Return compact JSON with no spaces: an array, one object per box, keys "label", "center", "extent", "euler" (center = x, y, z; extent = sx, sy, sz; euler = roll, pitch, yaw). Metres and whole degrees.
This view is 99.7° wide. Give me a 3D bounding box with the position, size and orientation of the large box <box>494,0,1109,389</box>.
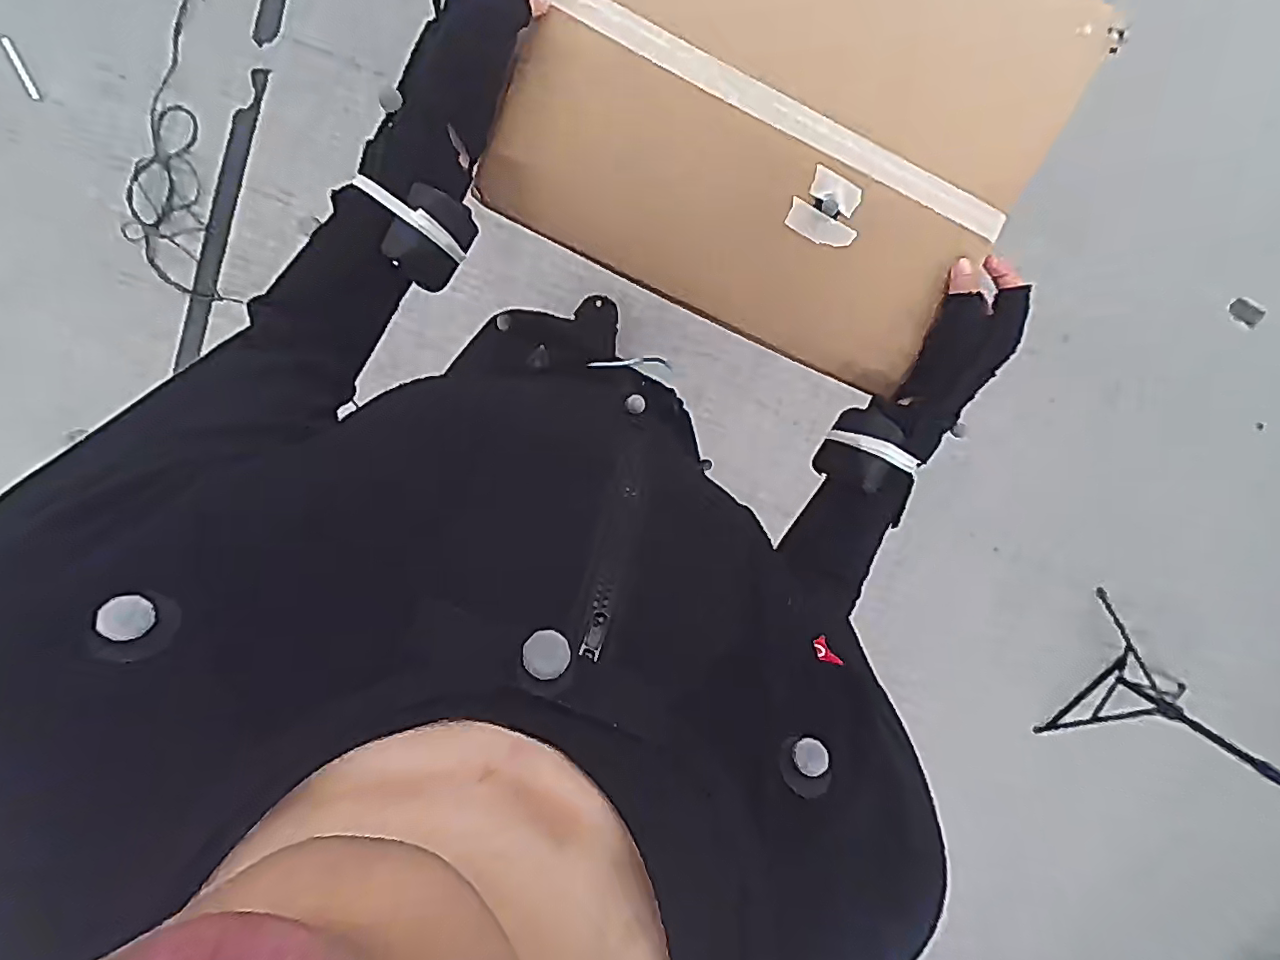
[{"label":"large box","center":[0.117,-0.338,0.571],"extent":[0.408,0.320,0.320],"euler":[24,109,-8]}]
